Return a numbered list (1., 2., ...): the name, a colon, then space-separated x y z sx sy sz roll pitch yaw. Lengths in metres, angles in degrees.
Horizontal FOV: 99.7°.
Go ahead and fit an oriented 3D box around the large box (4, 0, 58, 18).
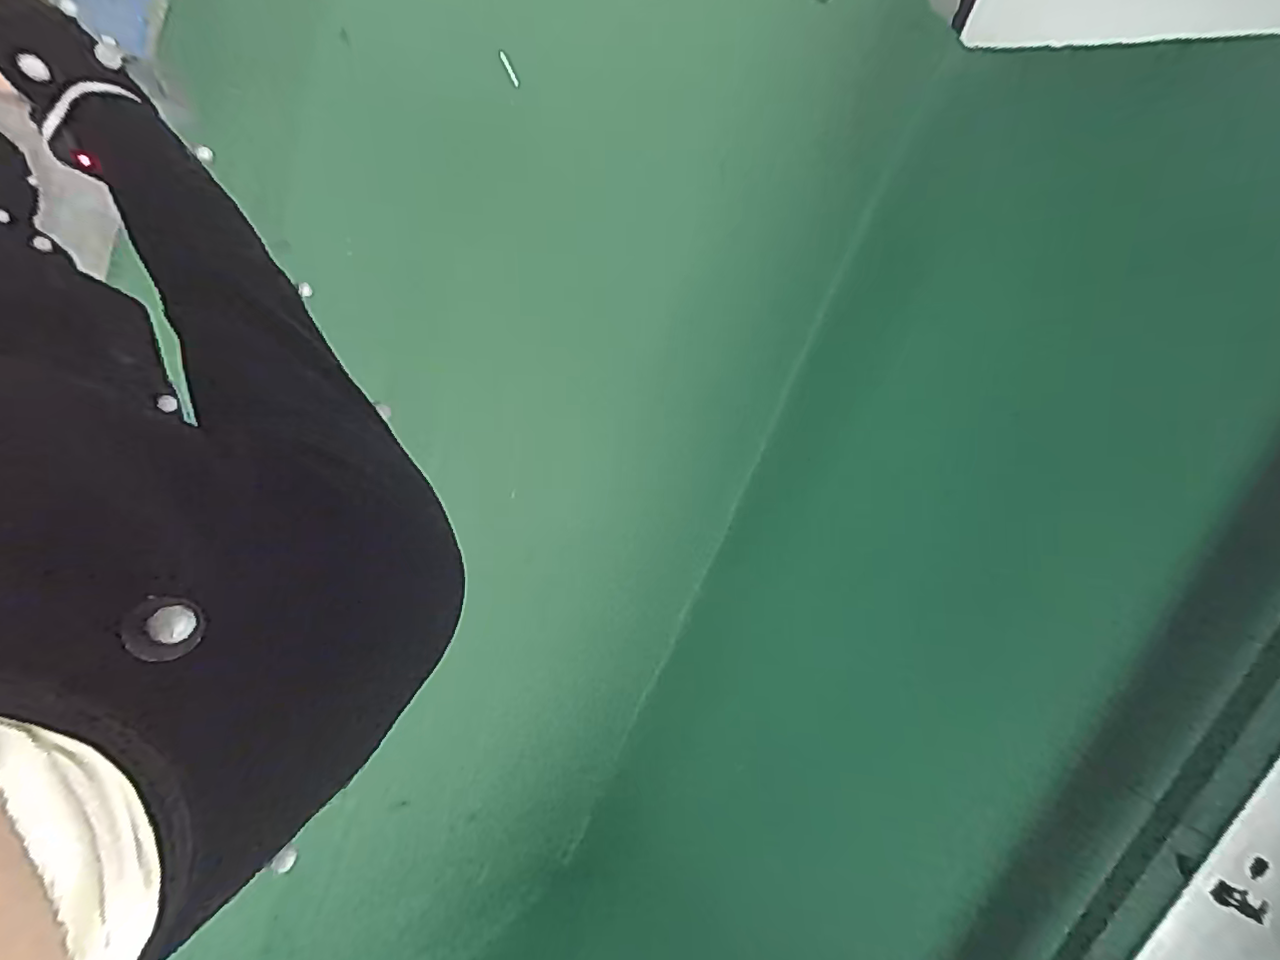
1. large box: -0.858 -0.844 0.593 0.320 0.320 0.408 1 112 -52
